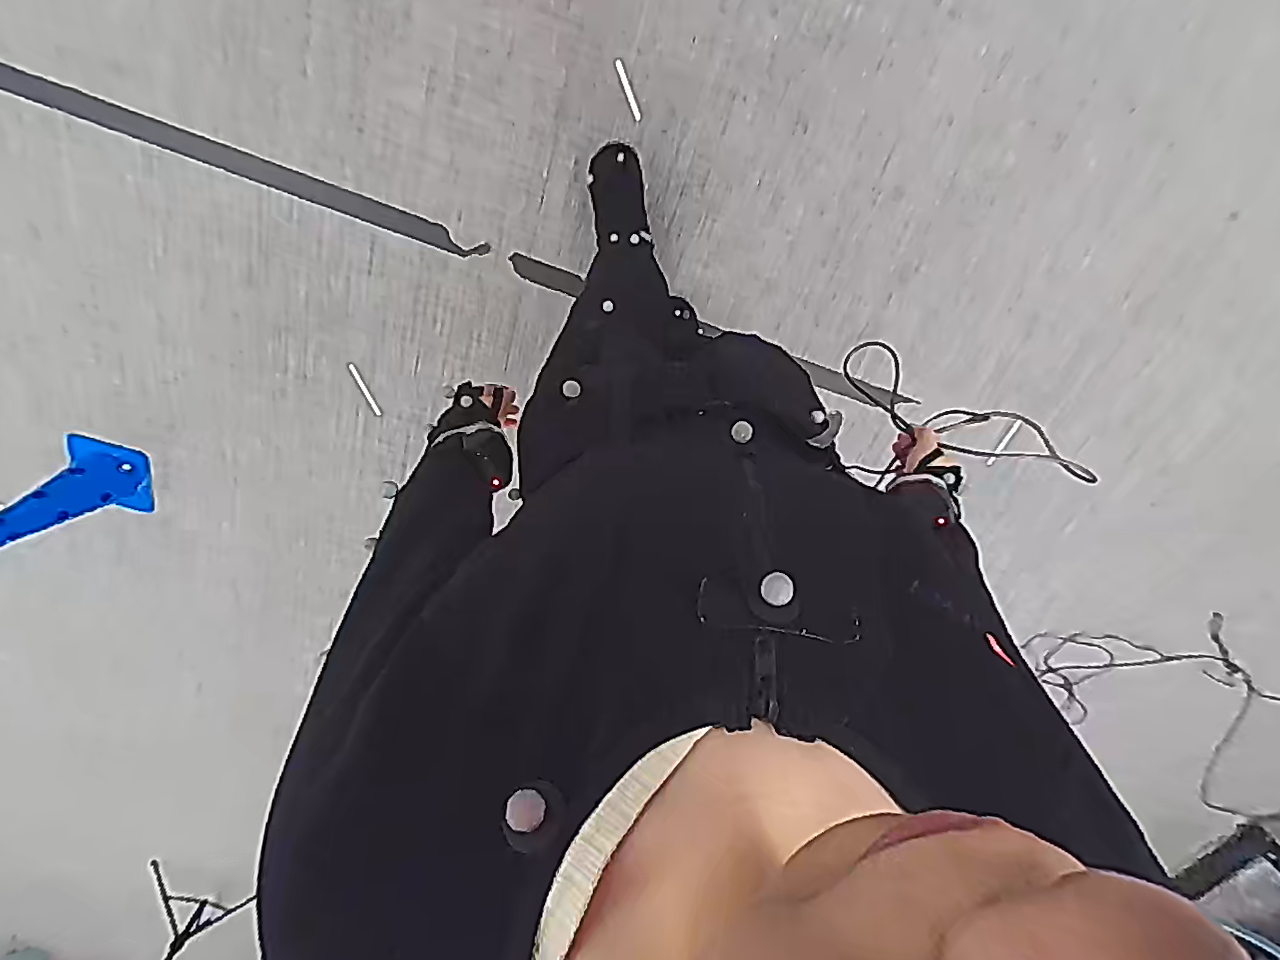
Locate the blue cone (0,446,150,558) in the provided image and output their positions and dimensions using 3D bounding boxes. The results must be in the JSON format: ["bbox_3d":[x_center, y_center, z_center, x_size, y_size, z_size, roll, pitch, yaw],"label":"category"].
[{"bbox_3d":[-1.430,0.081,1.310,0.193,0.380,0.192,18,117,-8],"label":"blue cone"}]
